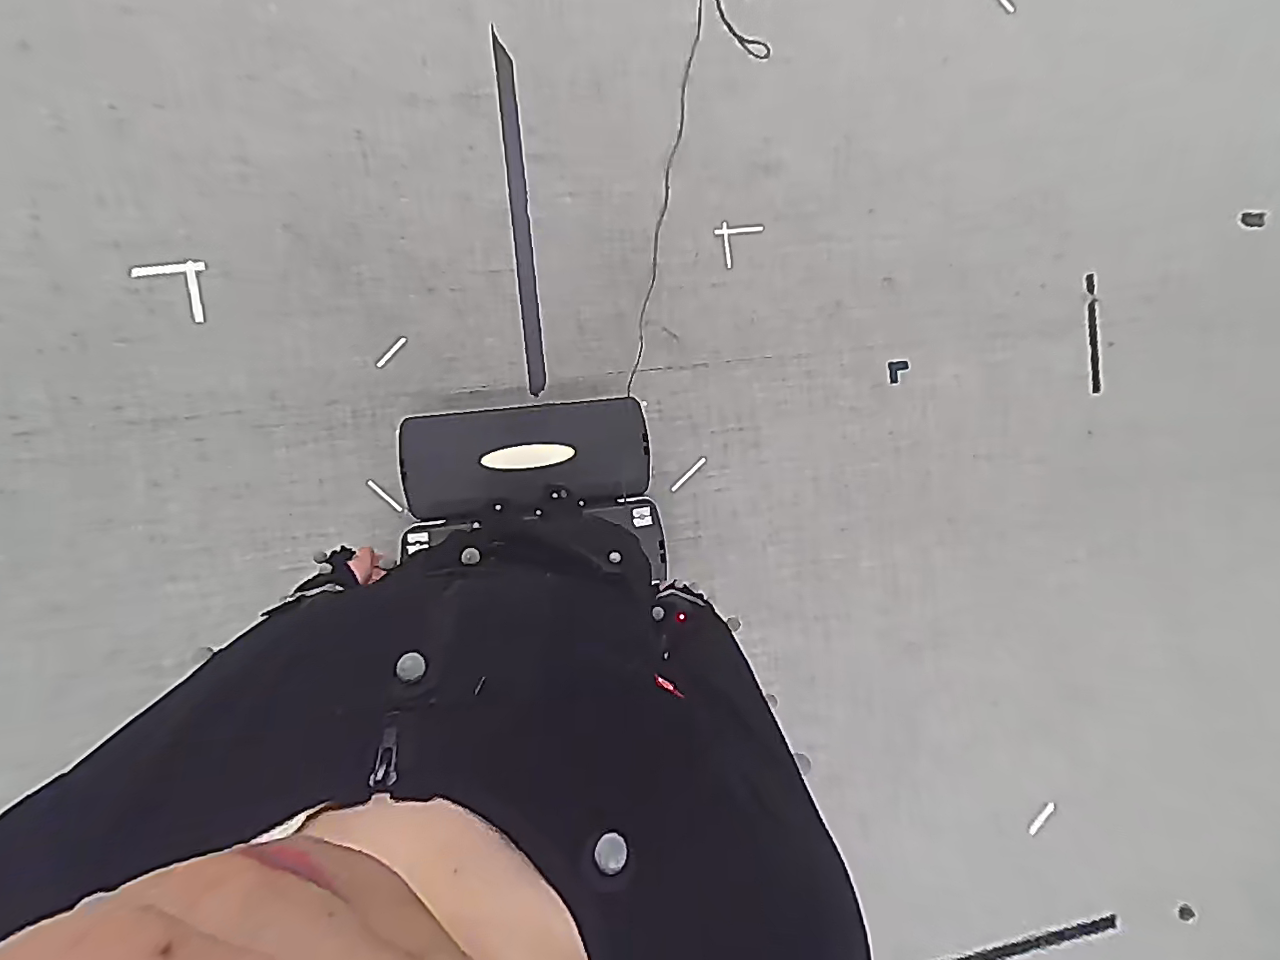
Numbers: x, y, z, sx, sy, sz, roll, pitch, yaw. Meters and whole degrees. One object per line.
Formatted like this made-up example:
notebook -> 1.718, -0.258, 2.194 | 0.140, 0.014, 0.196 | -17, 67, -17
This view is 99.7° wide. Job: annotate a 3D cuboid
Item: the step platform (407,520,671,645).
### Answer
step platform -> -0.258, 0.267, 1.456 | 0.684, 0.204, 0.286 | -2, 89, -7
